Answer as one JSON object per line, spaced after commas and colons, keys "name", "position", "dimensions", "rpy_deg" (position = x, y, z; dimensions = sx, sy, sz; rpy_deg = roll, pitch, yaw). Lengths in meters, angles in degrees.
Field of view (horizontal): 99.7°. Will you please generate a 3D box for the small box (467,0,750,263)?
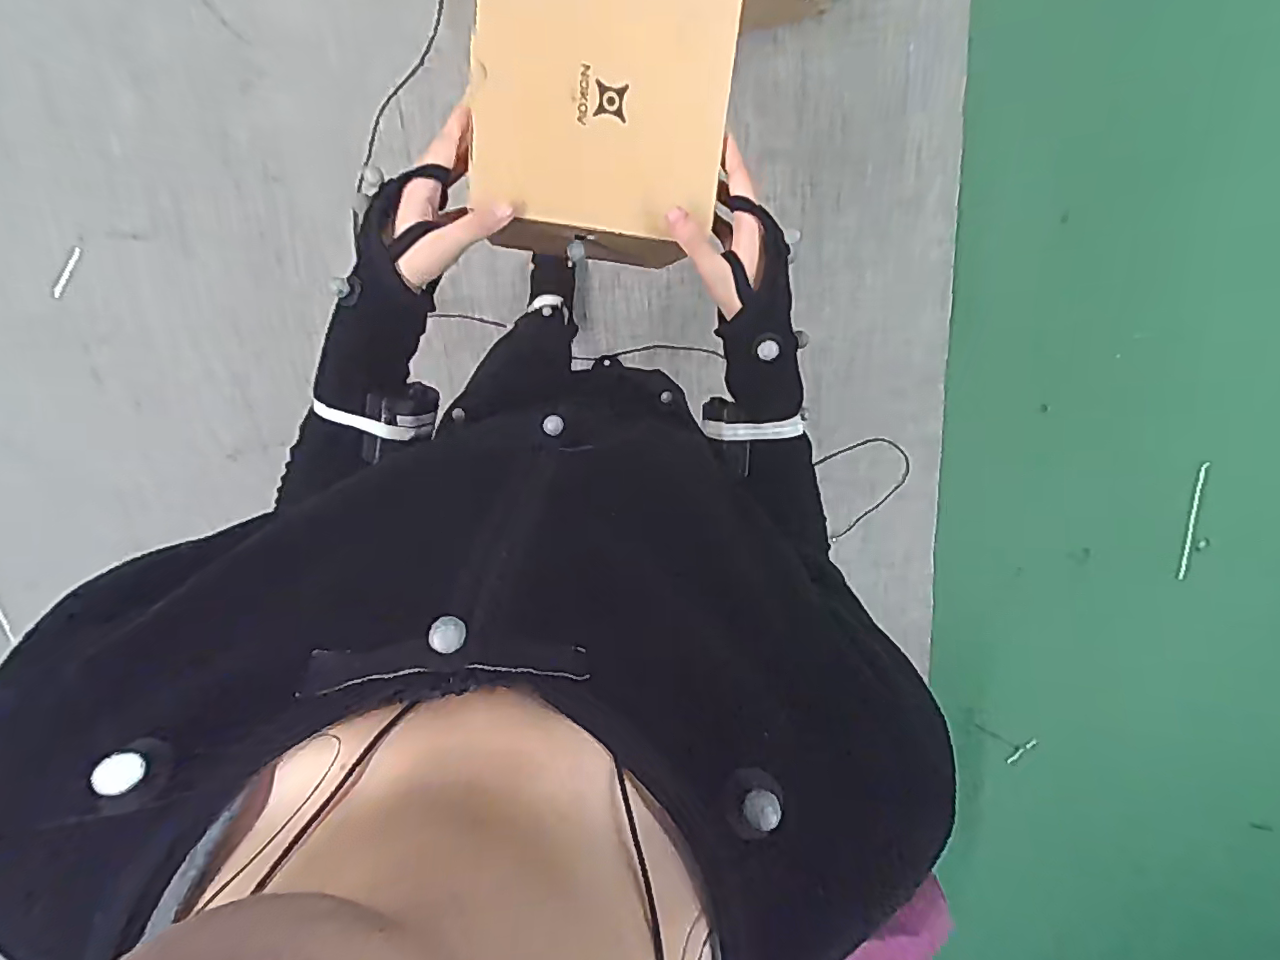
{"name": "small box", "position": [-0.035, -0.280, 0.437], "dimensions": [0.179, 0.176, 0.168], "rpy_deg": [5, 104, -11]}
